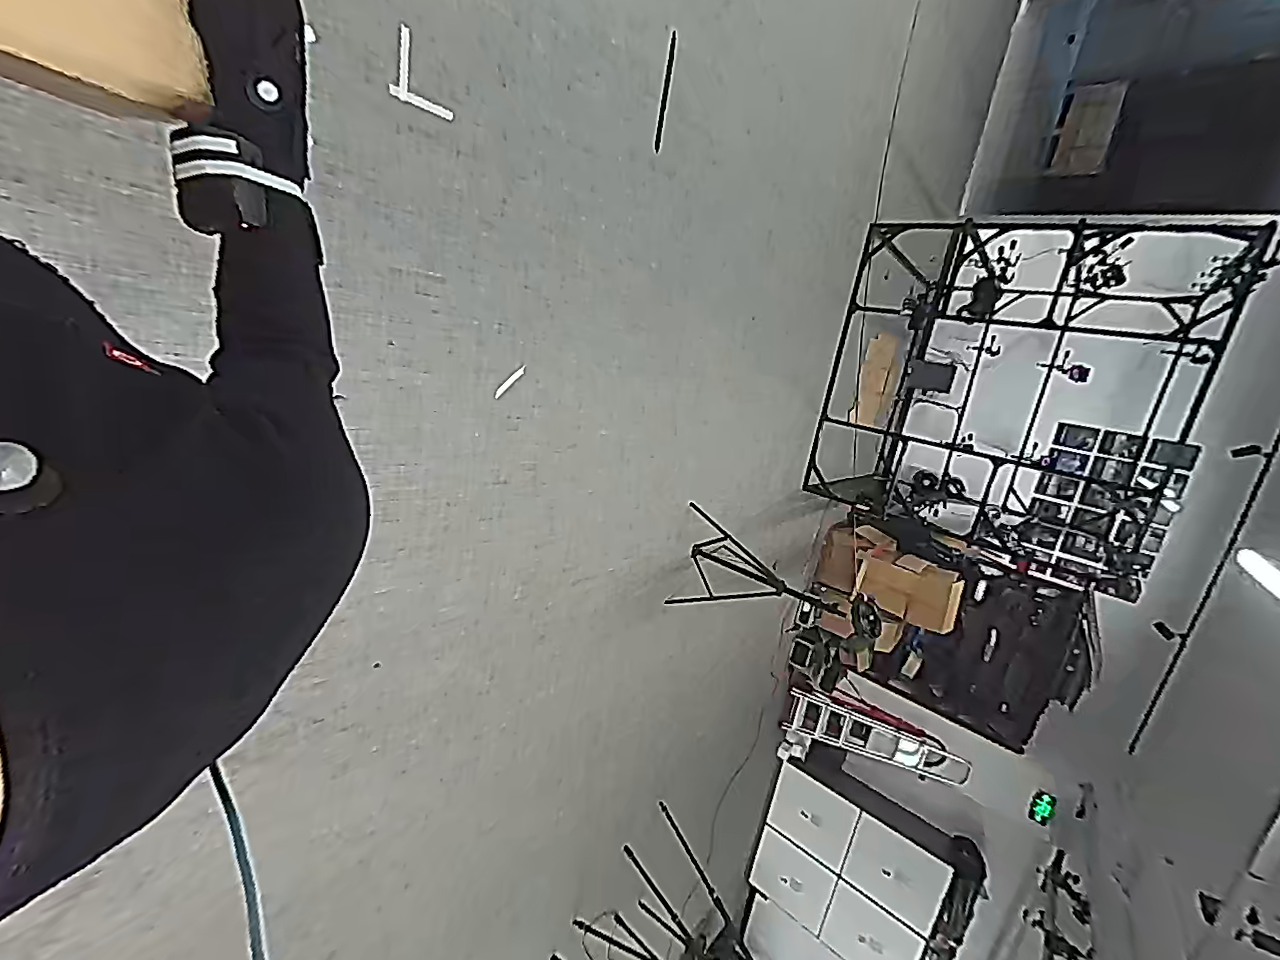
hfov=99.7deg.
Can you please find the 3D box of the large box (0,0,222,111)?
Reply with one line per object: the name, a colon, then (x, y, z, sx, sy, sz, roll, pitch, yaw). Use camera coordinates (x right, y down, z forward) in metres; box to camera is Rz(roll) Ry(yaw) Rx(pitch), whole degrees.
large box: (-0.521, -0.468, 0.298, 0.408, 0.320, 0.320, -6, 118, -54)
